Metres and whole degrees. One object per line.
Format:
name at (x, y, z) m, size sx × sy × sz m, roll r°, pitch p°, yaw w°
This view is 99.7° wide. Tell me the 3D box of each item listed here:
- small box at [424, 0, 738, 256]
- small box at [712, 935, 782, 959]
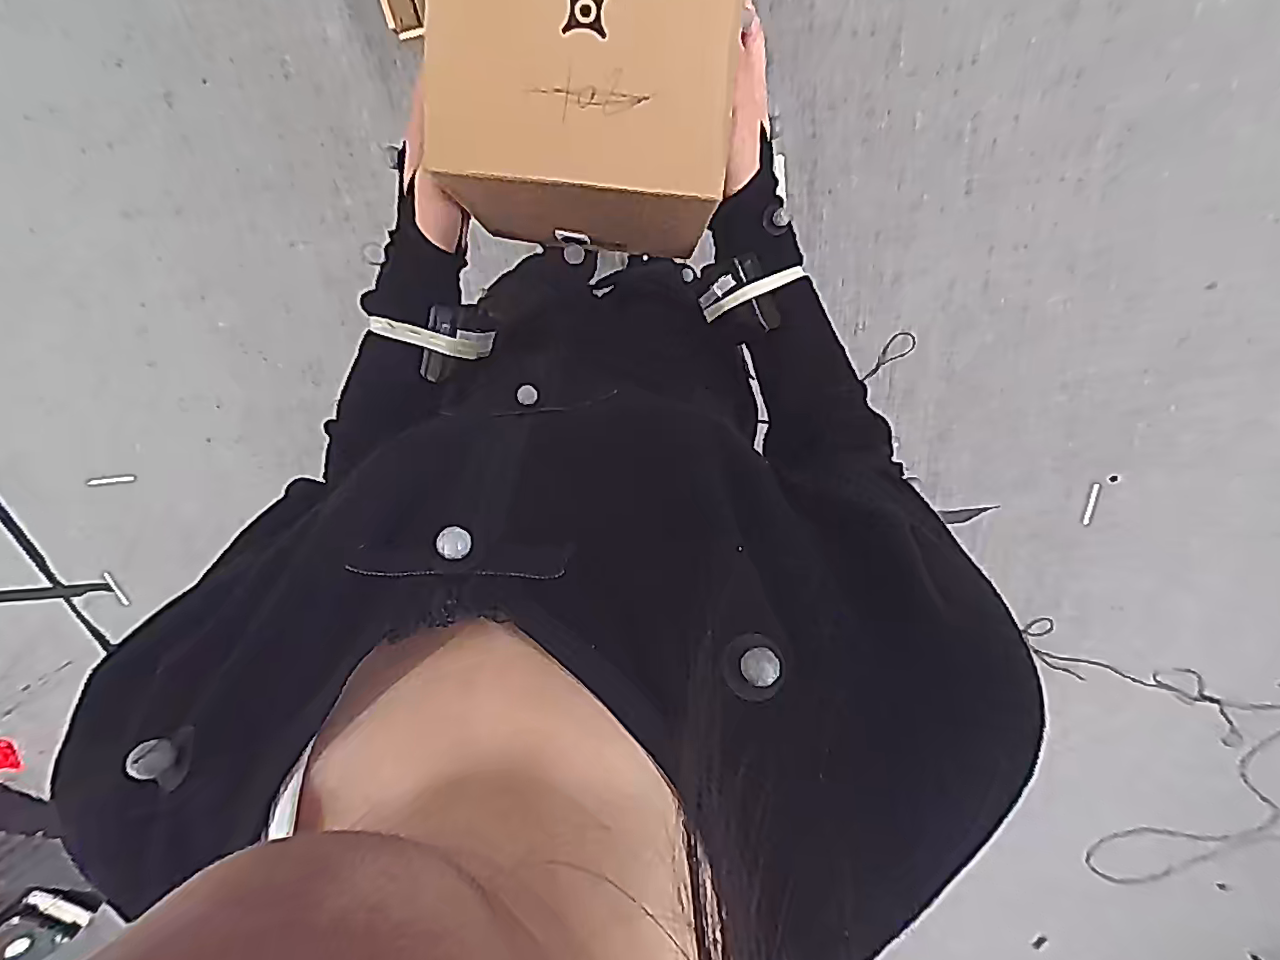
small box at (-0.032, -0.266, 0.363) m, size 0.168 × 0.176 × 0.179 m, roll 4°, pitch 102°, yaw -2°
small box at (0.272, 1.249, 1.316) m, size 0.168 × 0.176 × 0.179 m, roll -9°, pitch 117°, yaw 5°
